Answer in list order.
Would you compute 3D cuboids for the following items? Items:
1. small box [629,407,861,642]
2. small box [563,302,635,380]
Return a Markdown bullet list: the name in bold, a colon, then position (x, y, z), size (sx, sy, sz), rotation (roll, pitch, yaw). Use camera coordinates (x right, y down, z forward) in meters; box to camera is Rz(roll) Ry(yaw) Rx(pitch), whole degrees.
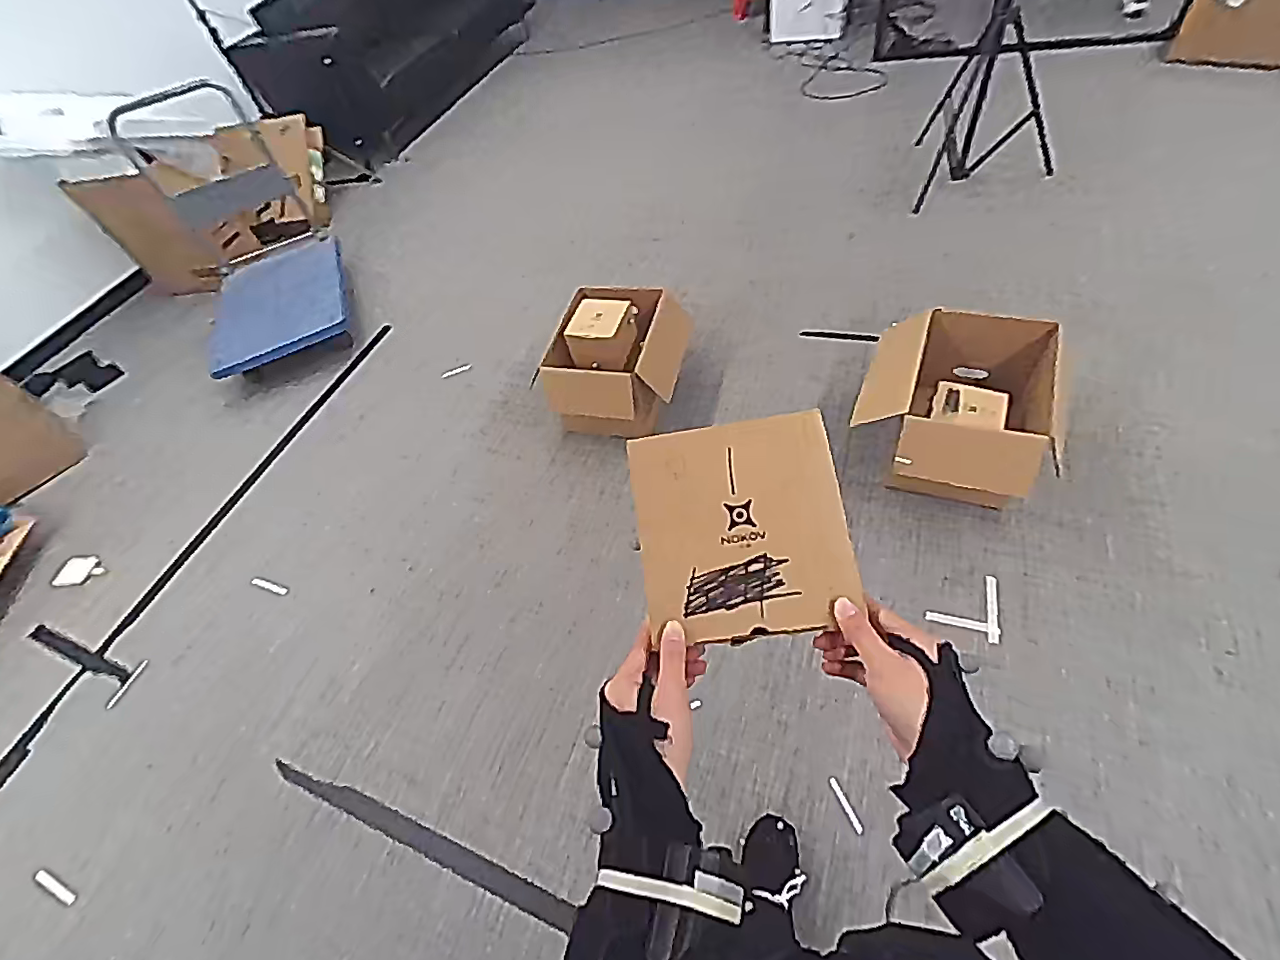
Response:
- **small box**: position (0.090, 0.052, 0.513), size (0.168, 0.176, 0.179), rotation (-8, 74, 5)
- **small box**: position (-0.124, -0.449, 1.749), size (0.168, 0.176, 0.179), rotation (9, 58, 19)
